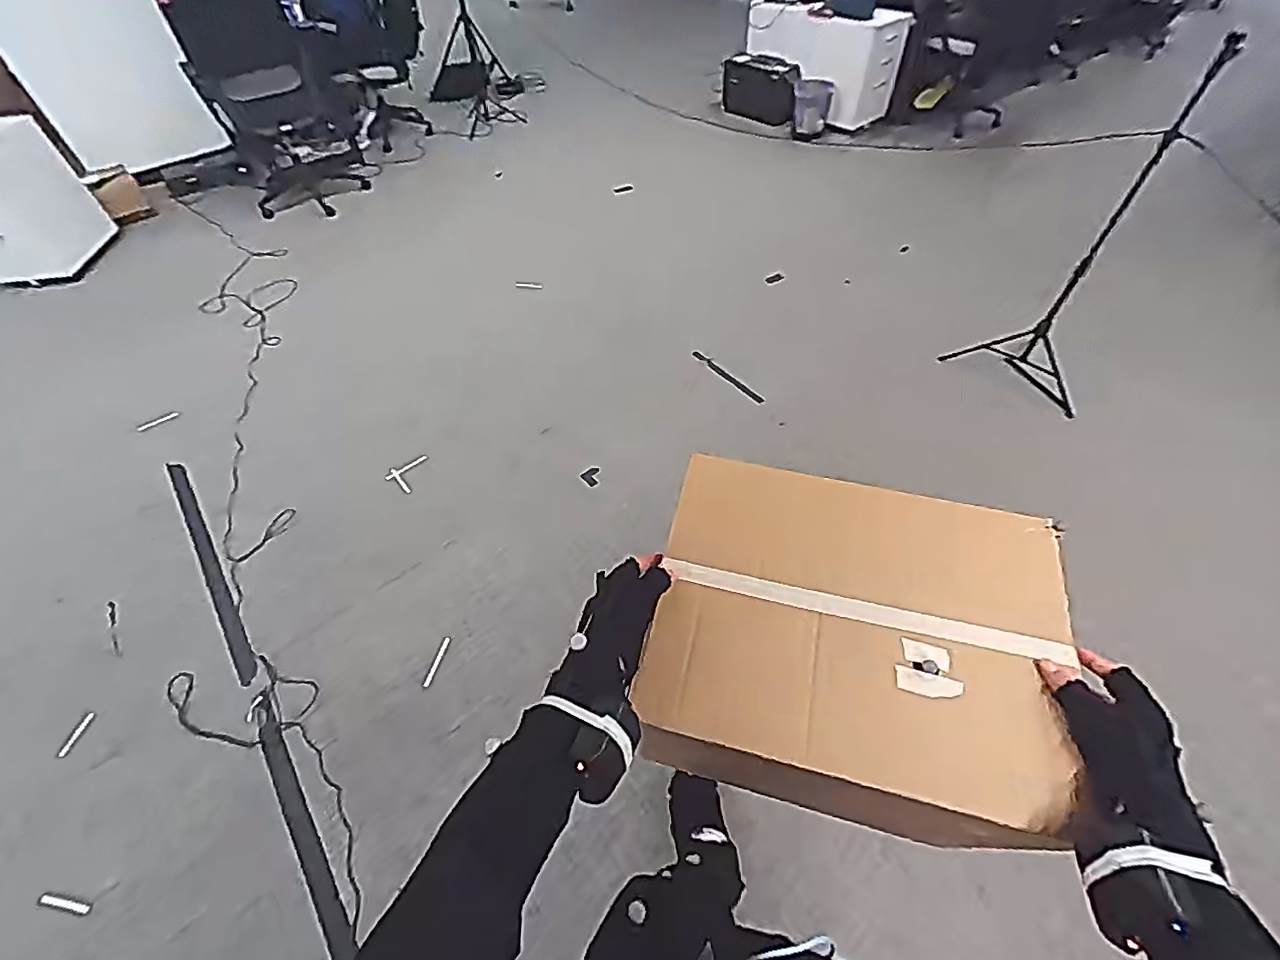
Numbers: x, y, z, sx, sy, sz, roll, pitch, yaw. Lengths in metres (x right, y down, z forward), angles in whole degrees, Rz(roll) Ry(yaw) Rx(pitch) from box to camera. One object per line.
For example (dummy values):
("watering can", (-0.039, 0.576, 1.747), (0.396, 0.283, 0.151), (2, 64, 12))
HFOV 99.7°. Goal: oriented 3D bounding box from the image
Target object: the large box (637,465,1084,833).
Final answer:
("large box", (0.228, 0.220, 0.692), (0.408, 0.320, 0.320), (11, 59, 10))
